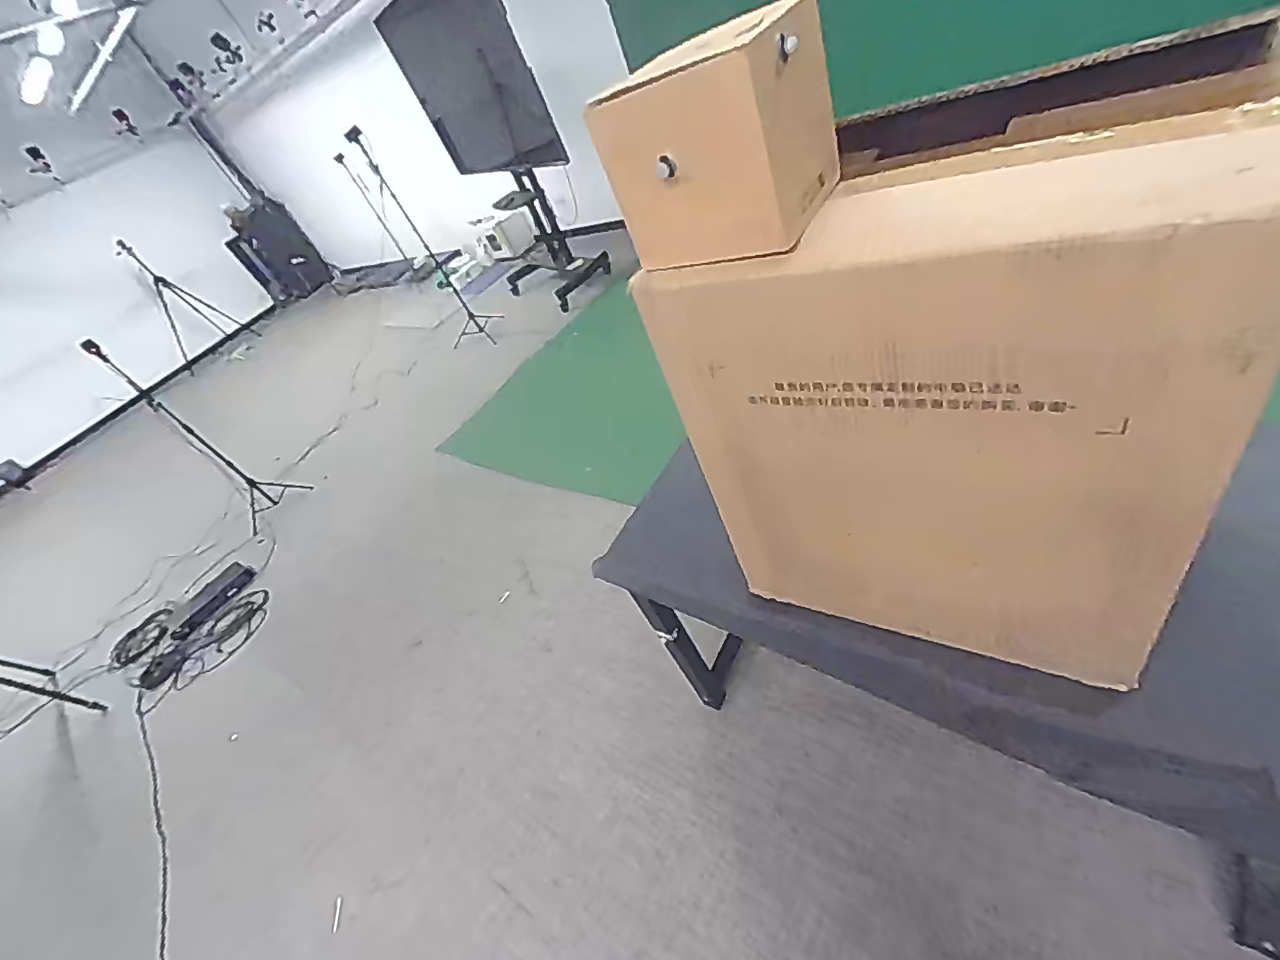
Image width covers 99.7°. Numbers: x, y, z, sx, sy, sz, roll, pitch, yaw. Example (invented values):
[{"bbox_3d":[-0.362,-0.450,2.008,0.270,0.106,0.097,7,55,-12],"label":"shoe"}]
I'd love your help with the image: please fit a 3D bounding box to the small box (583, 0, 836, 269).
[{"bbox_3d":[0.081,-0.339,0.558,0.179,0.176,0.168,7,52,38],"label":"small box"}]
